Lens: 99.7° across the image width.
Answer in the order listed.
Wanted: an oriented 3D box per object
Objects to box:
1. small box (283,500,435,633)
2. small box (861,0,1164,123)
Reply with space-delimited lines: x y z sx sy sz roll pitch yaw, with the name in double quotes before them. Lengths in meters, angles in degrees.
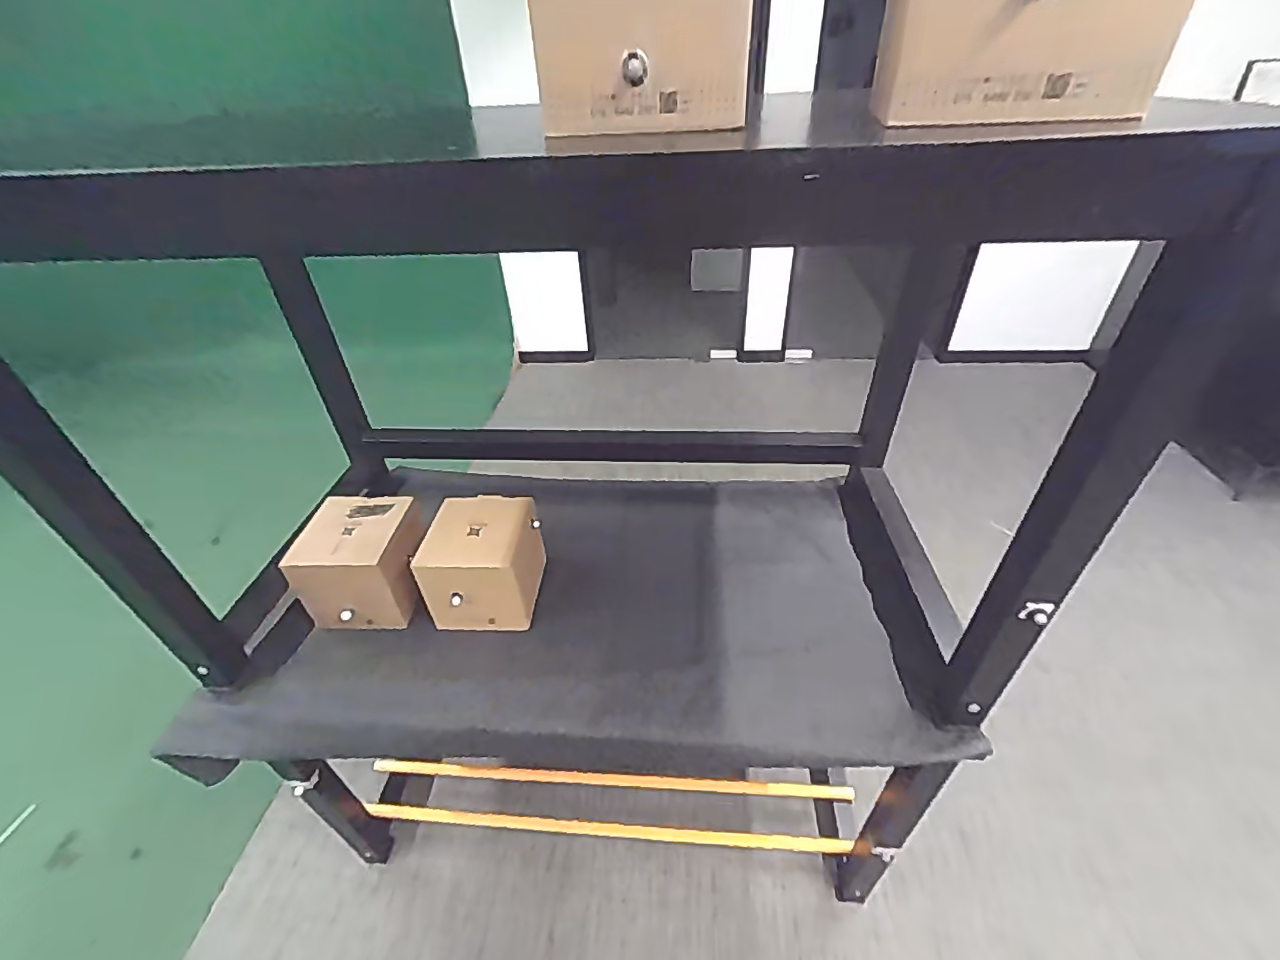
"small box" -0.493 0.155 0.983 0.168 0.176 0.179 -1 38 3
"small box" 0.267 -0.368 0.398 0.168 0.176 0.179 7 38 13
